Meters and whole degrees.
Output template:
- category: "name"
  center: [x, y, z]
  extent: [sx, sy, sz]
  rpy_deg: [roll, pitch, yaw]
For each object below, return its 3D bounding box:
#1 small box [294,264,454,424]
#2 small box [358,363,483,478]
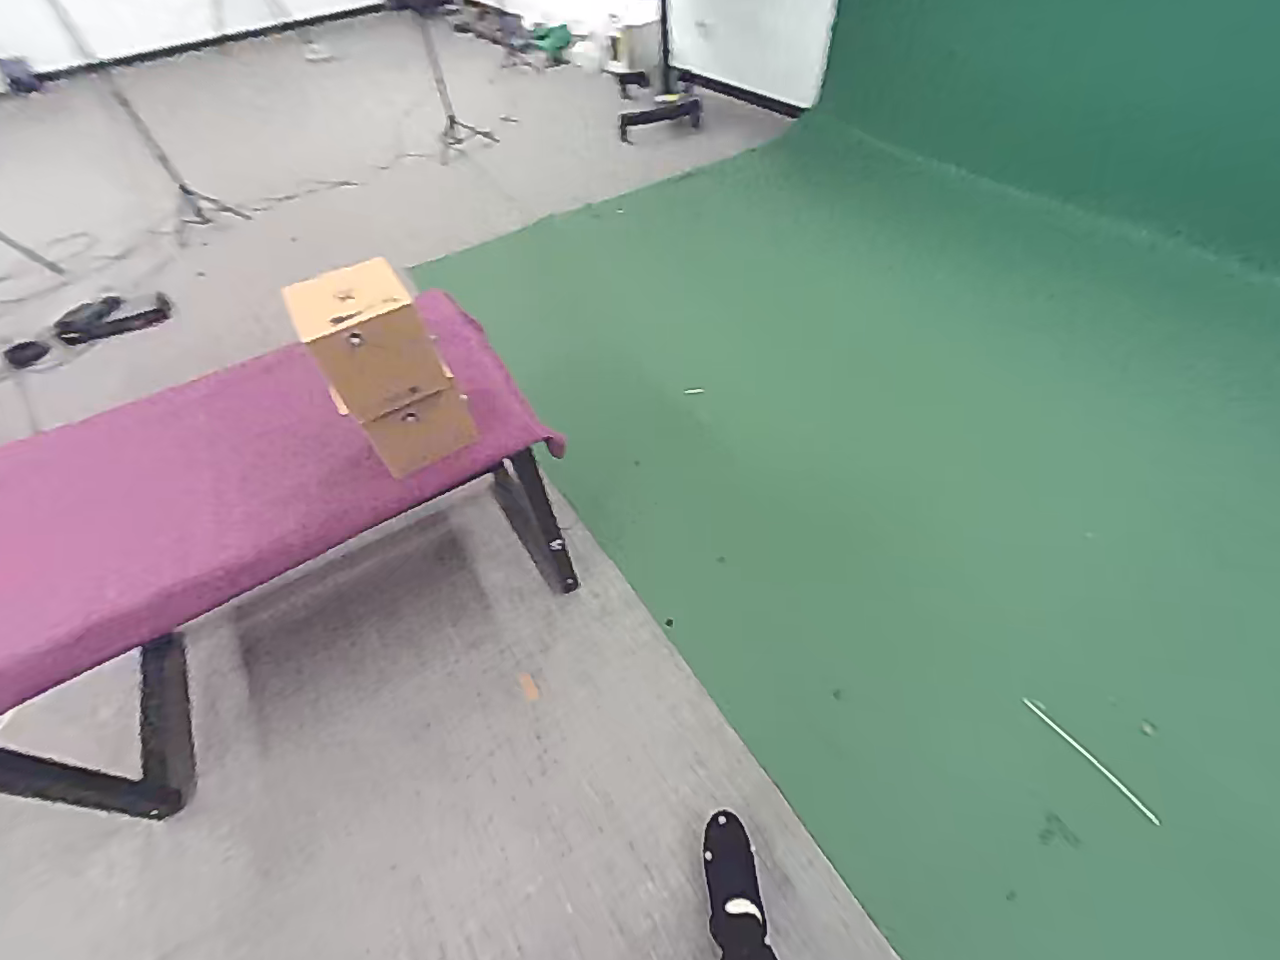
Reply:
- category: "small box"
  center: [-0.438, -0.226, 0.904]
  extent: [0.168, 0.176, 0.179]
  rpy_deg: [-29, 53, -16]
- category: "small box"
  center: [-0.432, -0.134, 1.041]
  extent: [0.179, 0.176, 0.168]
  rpy_deg: [-30, 54, -18]
